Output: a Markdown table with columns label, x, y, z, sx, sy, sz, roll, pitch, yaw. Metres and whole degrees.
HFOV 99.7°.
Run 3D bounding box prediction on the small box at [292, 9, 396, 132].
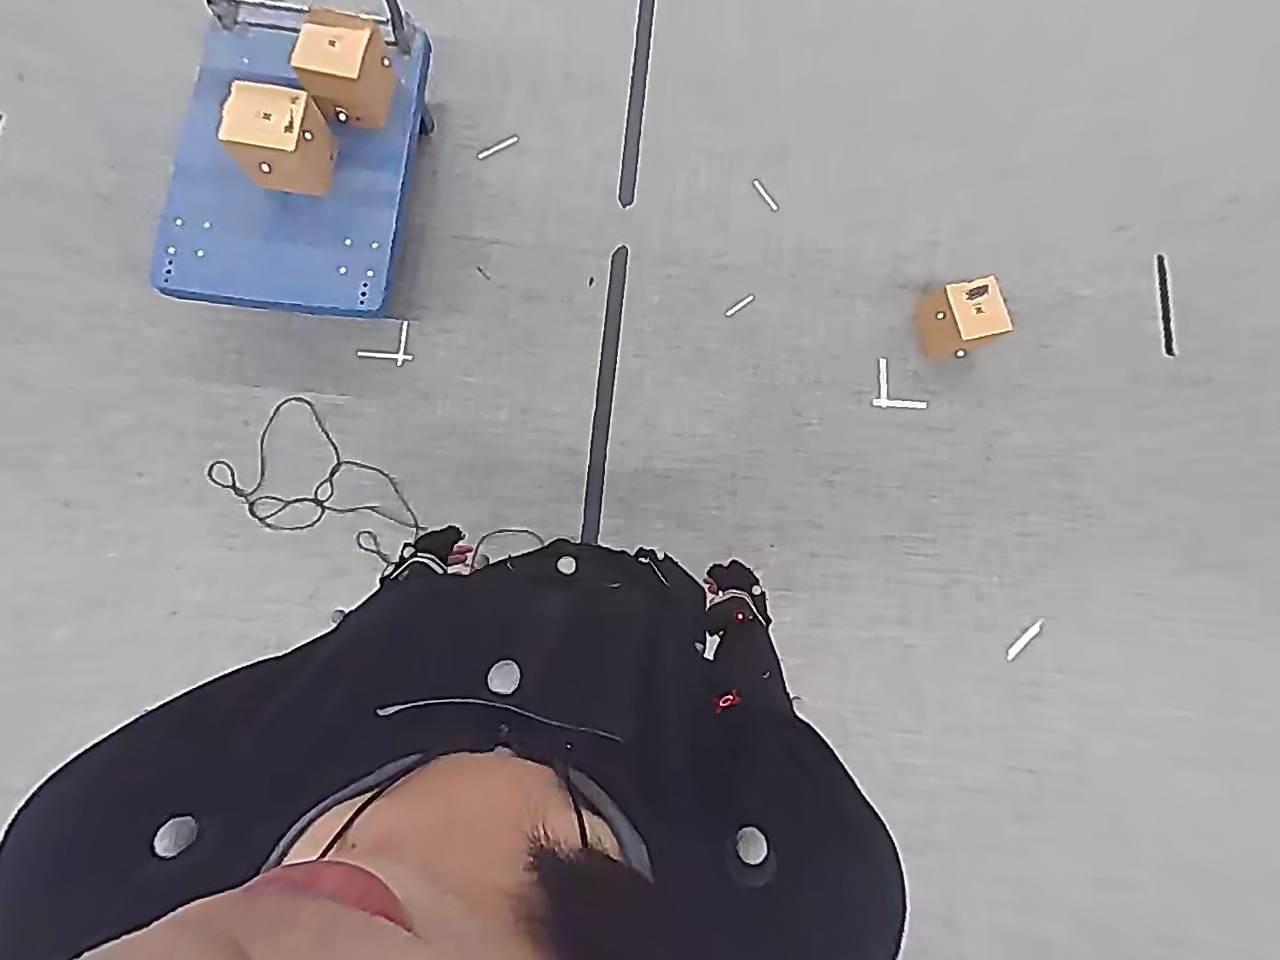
| label | x | y | z | sx | sy | sz | roll | pitch | yaw |
| --- | --- | --- | --- | --- | --- | --- | --- | --- | --- |
| small box | -0.758 | -1.057 | 1.407 | 0.168 | 0.176 | 0.179 | 10 | 82 | -2 |

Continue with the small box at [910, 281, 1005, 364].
| label | x | y | z | sx | sy | sz | roll | pitch | yaw |
| --- | --- | --- | --- | --- | --- | --- | --- | --- | --- |
| small box | 0.969 | -0.481 | 1.667 | 0.168 | 0.176 | 0.179 | -13 | 83 | -7 |

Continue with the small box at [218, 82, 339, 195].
| label | x | y | z | sx | sy | sz | roll | pitch | yaw |
| --- | --- | --- | --- | --- | --- | --- | --- | --- | --- |
| small box | -0.899 | -0.849 | 1.360 | 0.179 | 0.176 | 0.168 | 7 | 82 | -3 |
